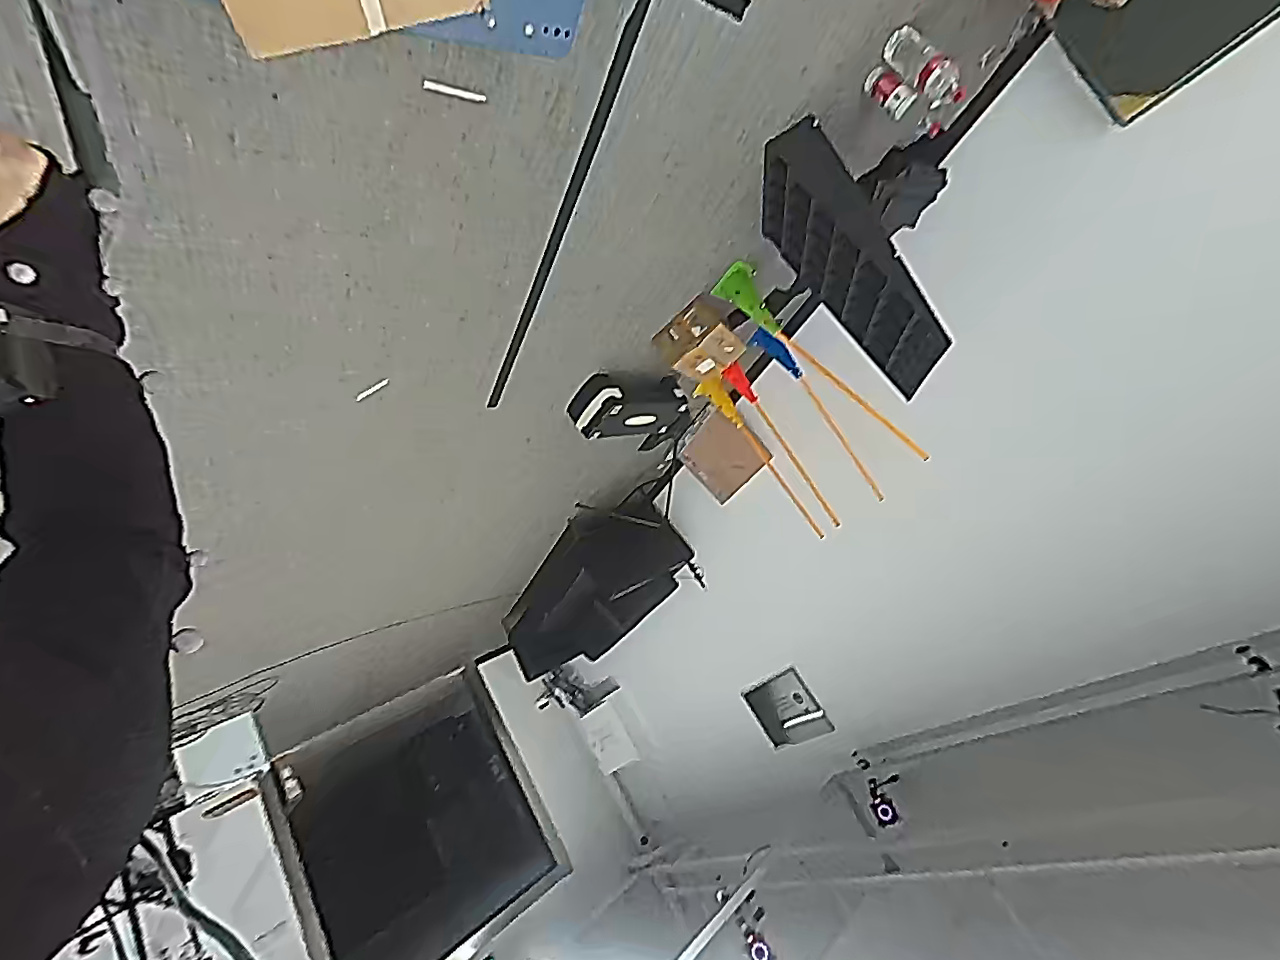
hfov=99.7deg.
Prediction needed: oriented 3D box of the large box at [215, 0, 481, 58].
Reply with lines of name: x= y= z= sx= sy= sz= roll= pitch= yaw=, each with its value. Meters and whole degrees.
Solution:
large box: x=-0.405 y=-0.775 z=0.558 sx=0.320 sy=0.320 sz=0.408 roll=-27 pitch=162 yaw=-17
